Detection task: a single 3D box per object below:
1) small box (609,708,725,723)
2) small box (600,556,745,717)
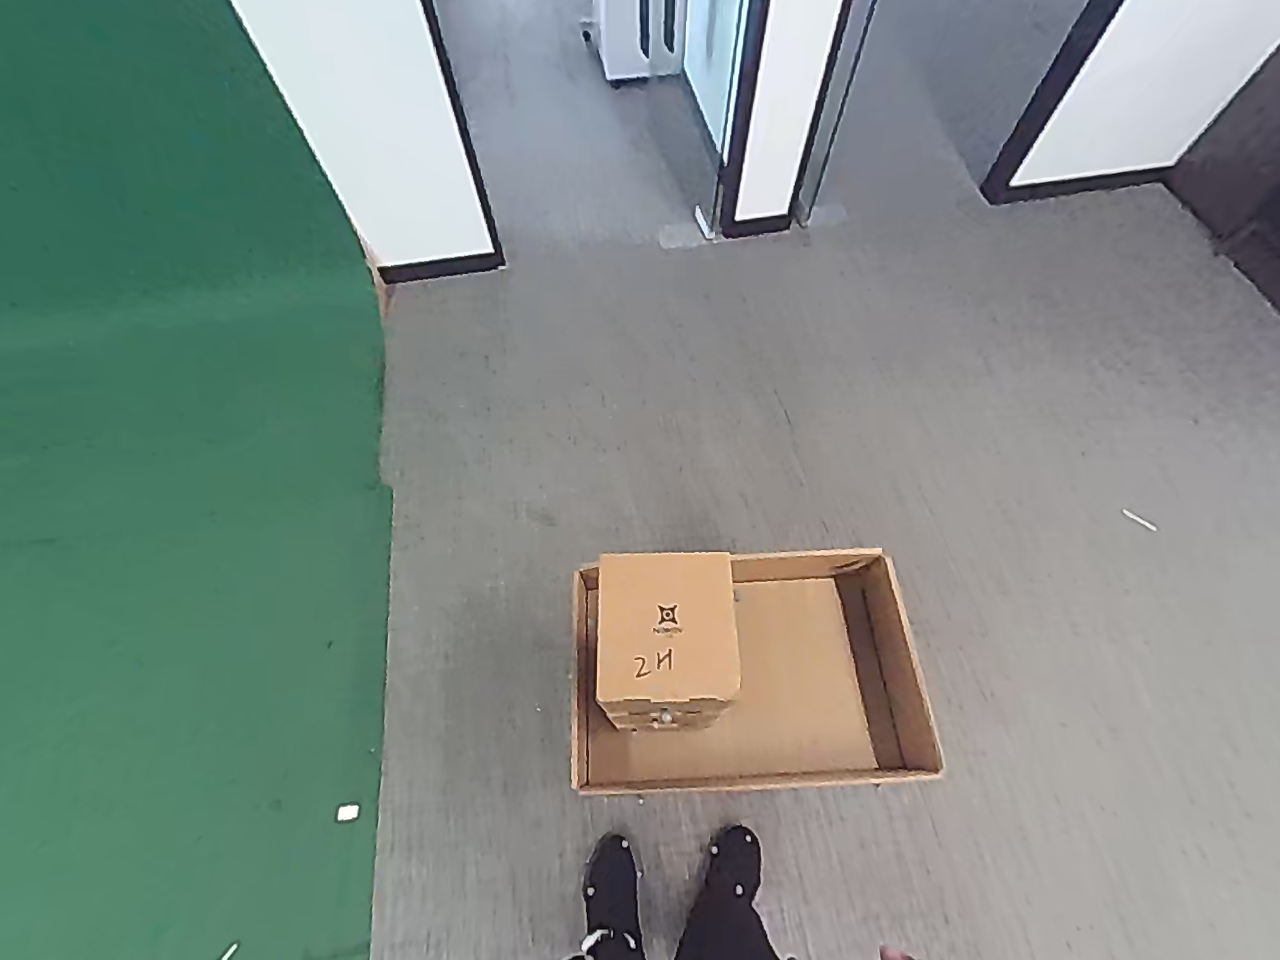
[{"bbox_3d":[0.035,0.285,0.854,0.168,0.176,0.179,0,65,-1],"label":"small box"},{"bbox_3d":[0.036,0.209,0.707,0.168,0.176,0.179,0,64,0],"label":"small box"}]
